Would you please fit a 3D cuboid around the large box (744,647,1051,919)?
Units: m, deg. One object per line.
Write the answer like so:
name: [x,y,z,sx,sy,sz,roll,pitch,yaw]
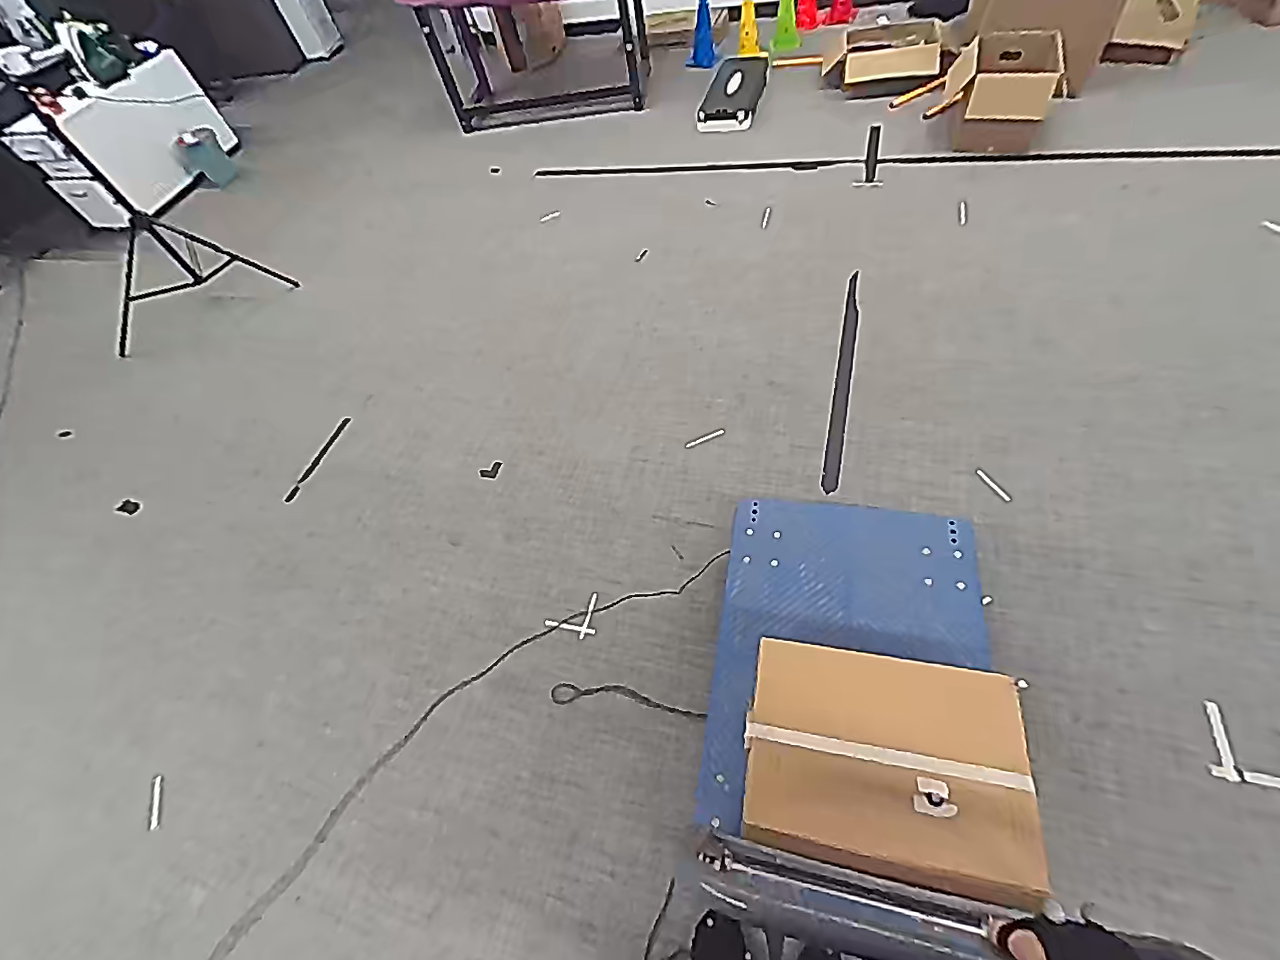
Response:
large box: [0.397,0.518,0.951,0.408,0.320,0.320,5,58,14]
